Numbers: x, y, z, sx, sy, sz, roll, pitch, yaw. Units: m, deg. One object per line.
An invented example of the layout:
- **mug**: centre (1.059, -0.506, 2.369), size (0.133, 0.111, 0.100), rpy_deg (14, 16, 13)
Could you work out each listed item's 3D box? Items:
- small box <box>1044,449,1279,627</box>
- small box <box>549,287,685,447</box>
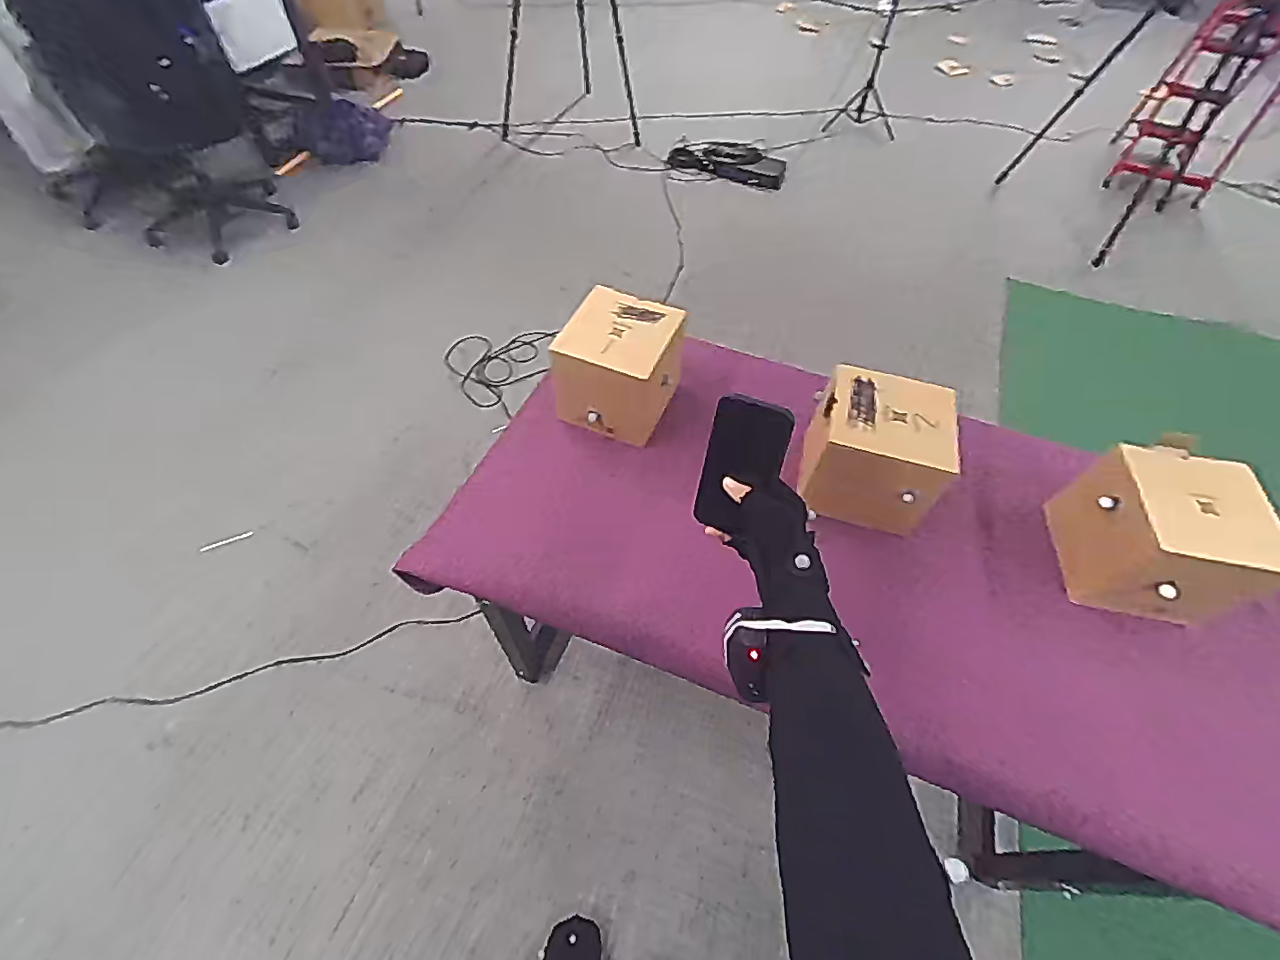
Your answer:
- **small box**: centre (0.714, 0.085, 0.755), size (0.168, 0.176, 0.179), rpy_deg (10, 54, 6)
- **small box**: centre (-0.037, -0.189, 0.916), size (0.168, 0.176, 0.179), rpy_deg (20, 58, 12)
